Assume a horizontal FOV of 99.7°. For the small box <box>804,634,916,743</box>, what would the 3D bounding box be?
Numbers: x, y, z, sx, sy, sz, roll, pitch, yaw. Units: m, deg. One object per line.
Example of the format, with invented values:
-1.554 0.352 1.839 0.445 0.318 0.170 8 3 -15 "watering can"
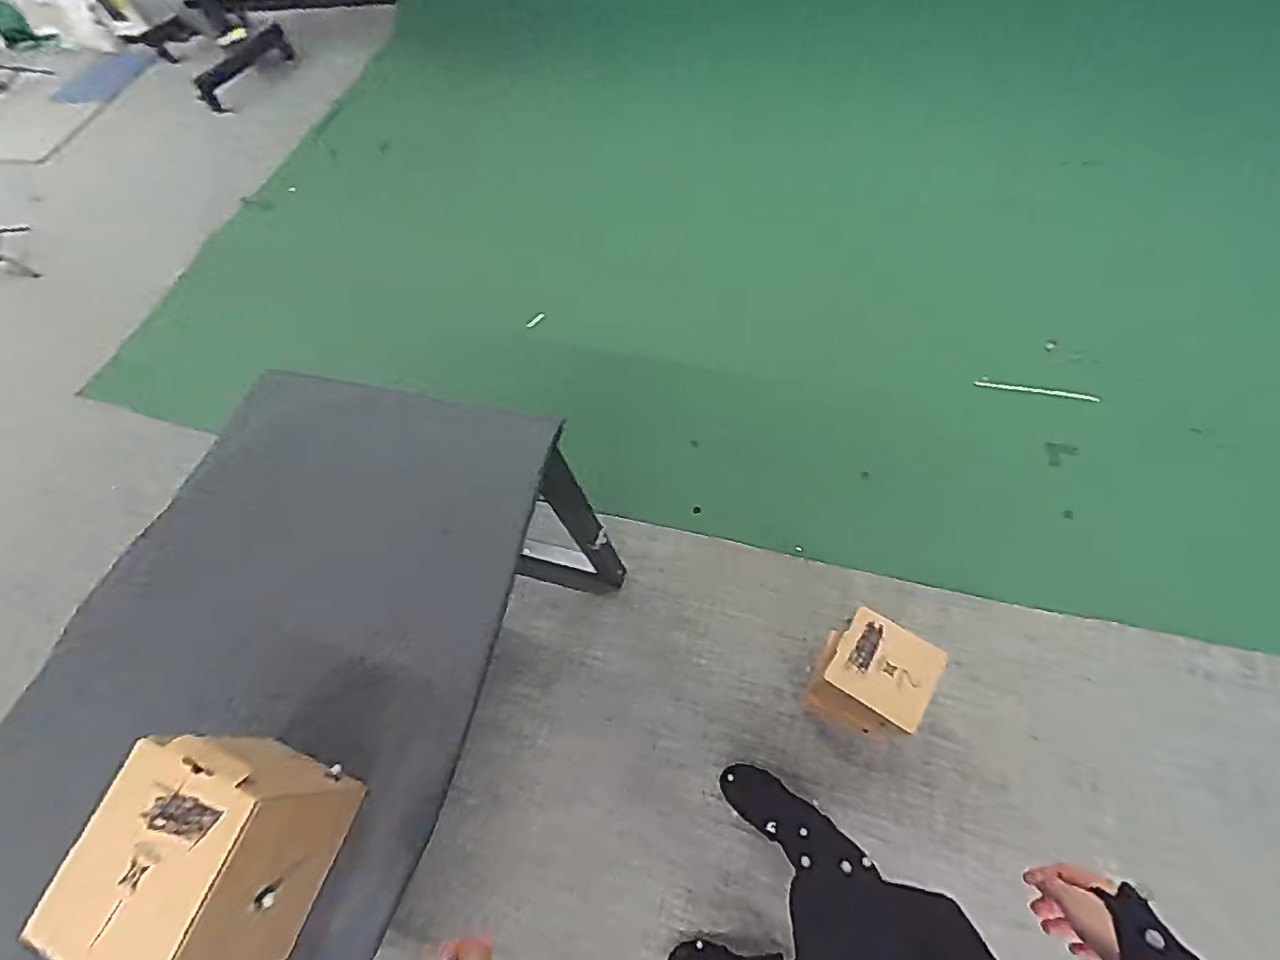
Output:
0.484 0.466 1.208 0.179 0.176 0.168 19 68 18 "small box"
